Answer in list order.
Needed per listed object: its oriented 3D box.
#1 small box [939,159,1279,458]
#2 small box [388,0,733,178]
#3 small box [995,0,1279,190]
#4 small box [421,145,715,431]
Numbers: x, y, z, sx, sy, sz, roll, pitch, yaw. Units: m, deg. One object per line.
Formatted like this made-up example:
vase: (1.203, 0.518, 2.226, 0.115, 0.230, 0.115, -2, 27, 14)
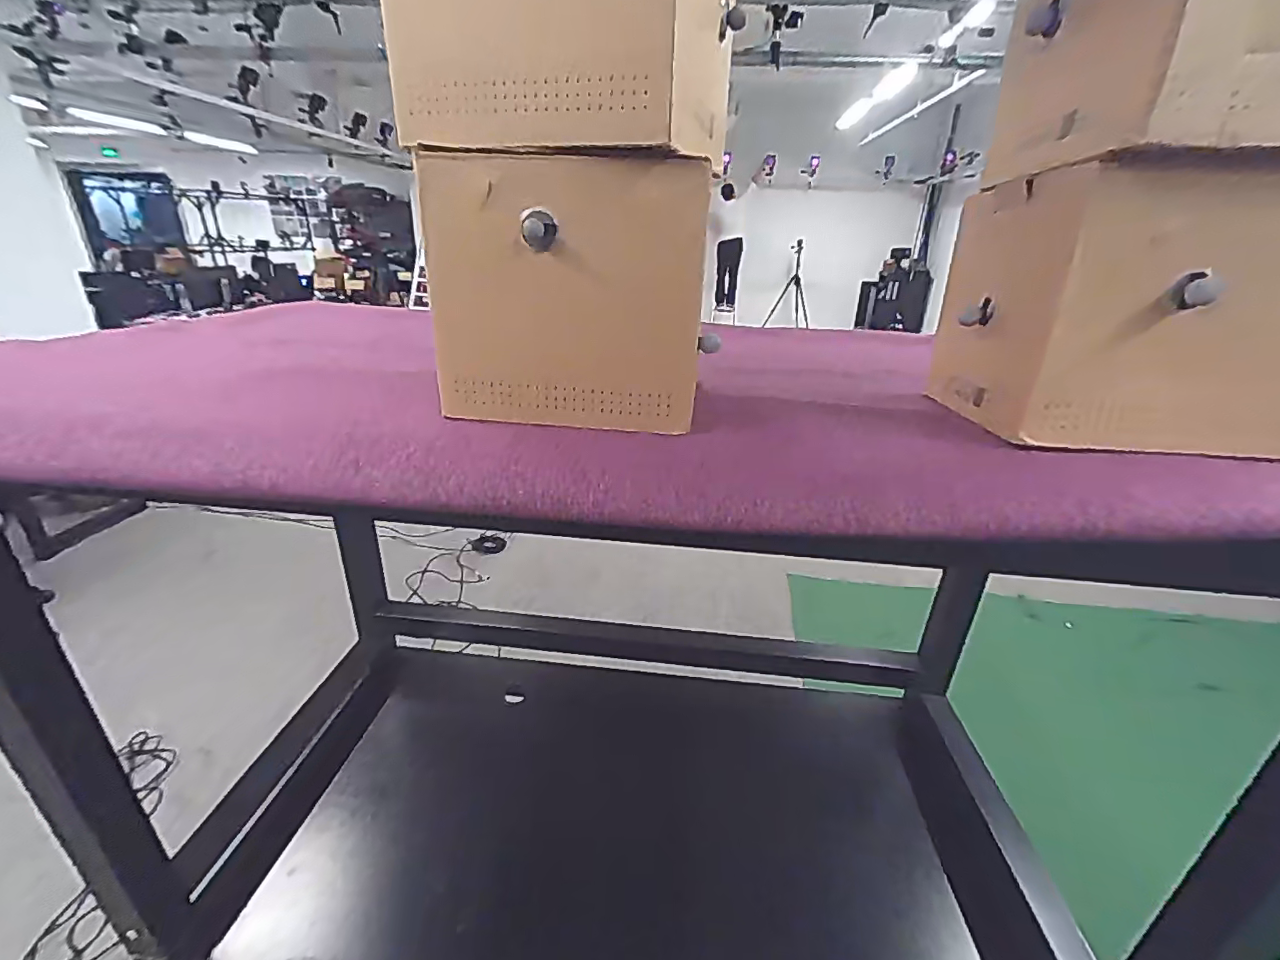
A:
small box: (0.340, -0.119, 0.390, 0.179, 0.176, 0.168, 3, 22, 6)
small box: (-0.037, -0.291, 0.347, 0.179, 0.176, 0.168, 8, 24, 15)
small box: (0.343, -0.266, 0.318, 0.179, 0.176, 0.168, 4, 21, 5)
small box: (-0.038, -0.143, 0.413, 0.179, 0.176, 0.168, 6, 25, 5)
